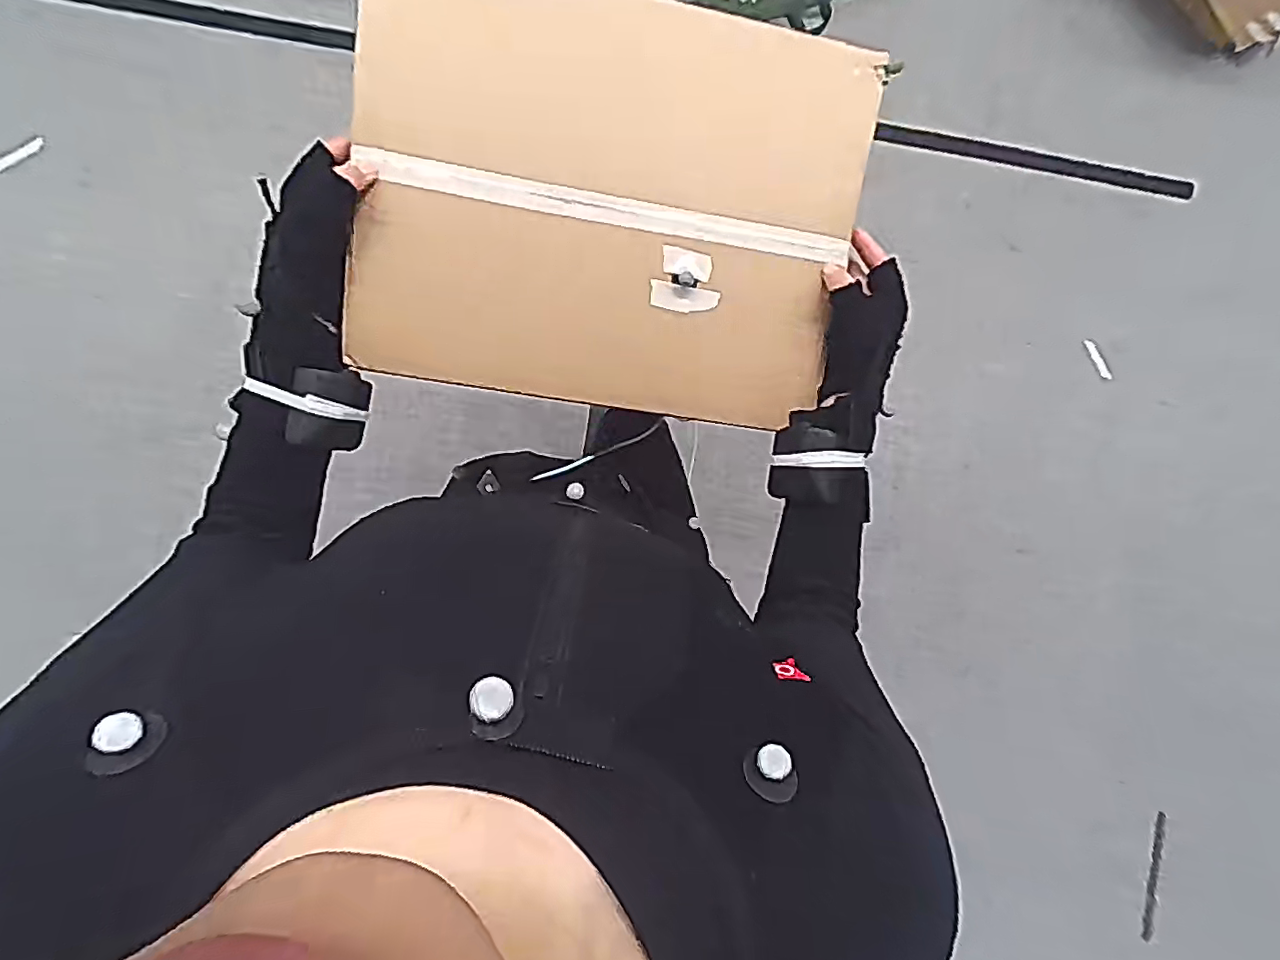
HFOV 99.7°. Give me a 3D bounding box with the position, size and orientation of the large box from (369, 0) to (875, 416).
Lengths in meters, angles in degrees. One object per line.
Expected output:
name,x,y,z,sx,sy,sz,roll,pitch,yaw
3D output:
large box,-0.033,-0.259,0.601,0.408,0.320,0.320,7,101,-8
